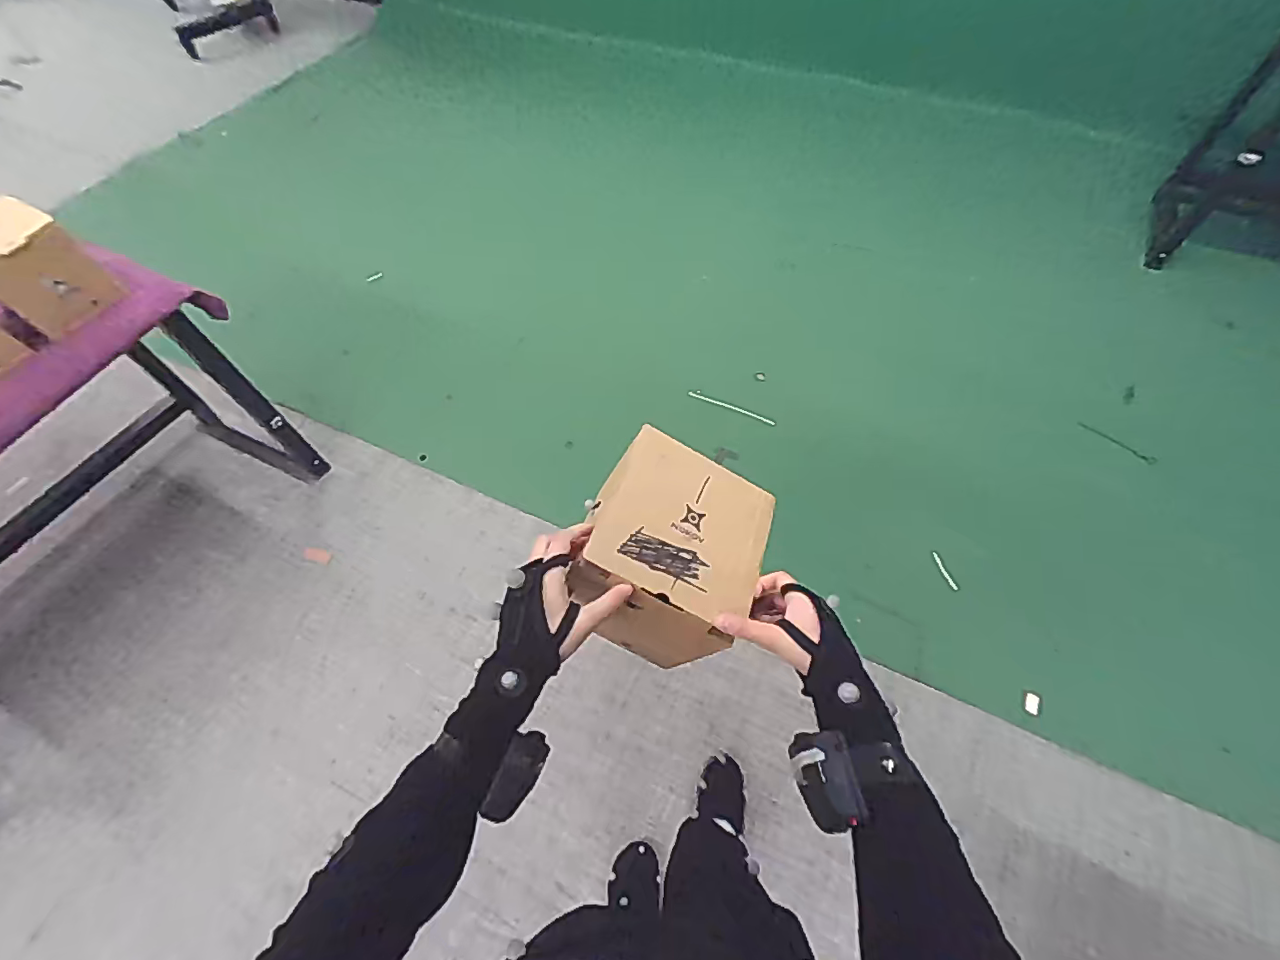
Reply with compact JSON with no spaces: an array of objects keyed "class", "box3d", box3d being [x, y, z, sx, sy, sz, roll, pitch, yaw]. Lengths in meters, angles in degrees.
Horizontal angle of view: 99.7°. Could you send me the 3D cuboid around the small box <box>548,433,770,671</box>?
[{"class":"small box","box3d":[0.013,0.089,0.593,0.168,0.176,0.179,29,56,-6]}]
